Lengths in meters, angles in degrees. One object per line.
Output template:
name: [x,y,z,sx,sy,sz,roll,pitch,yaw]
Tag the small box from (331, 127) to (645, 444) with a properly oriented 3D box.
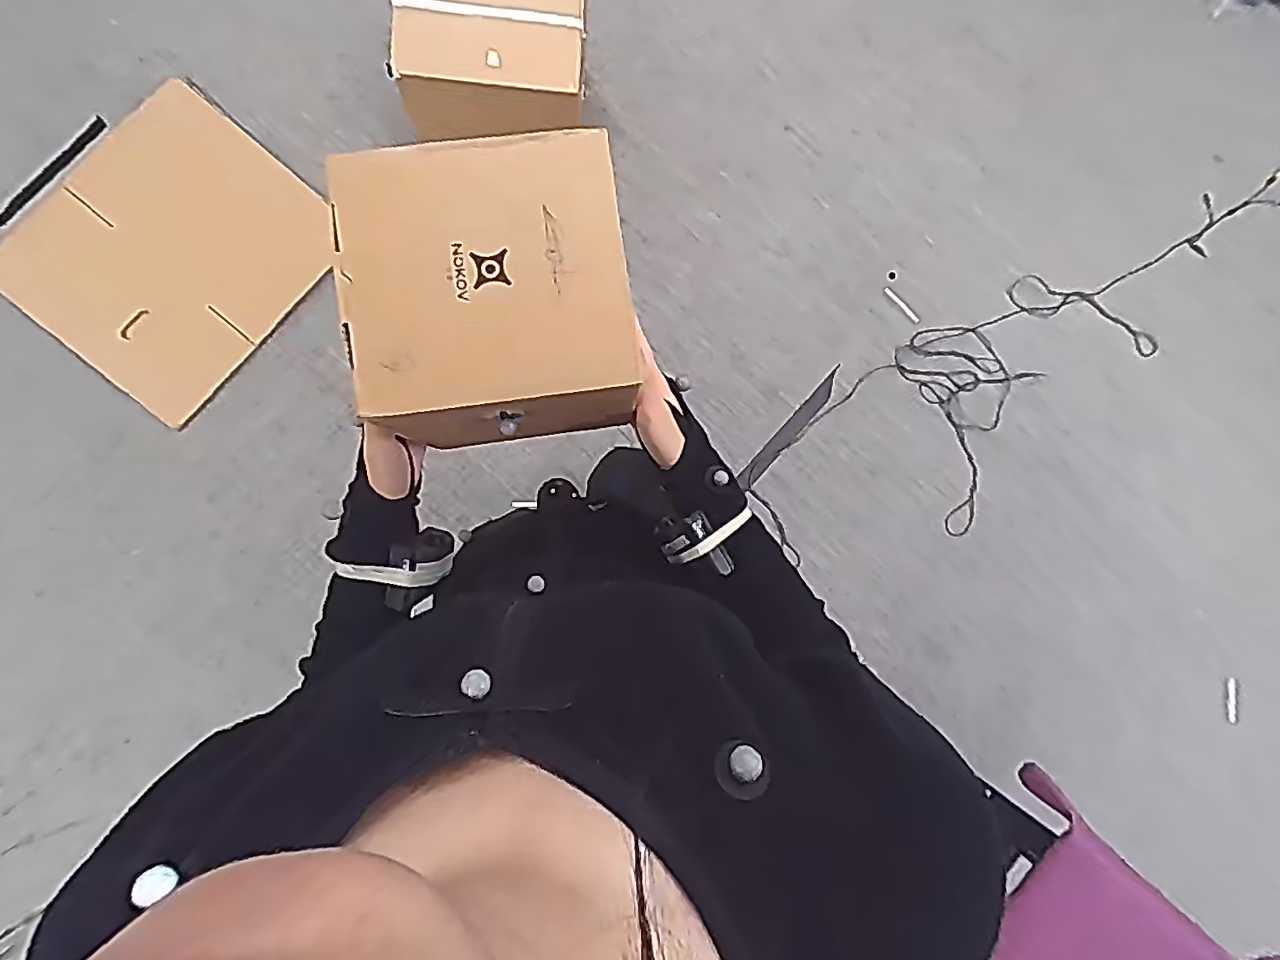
small box: [-0.097,-0.125,0.410,0.179,0.176,0.168,-8,88,-4]
